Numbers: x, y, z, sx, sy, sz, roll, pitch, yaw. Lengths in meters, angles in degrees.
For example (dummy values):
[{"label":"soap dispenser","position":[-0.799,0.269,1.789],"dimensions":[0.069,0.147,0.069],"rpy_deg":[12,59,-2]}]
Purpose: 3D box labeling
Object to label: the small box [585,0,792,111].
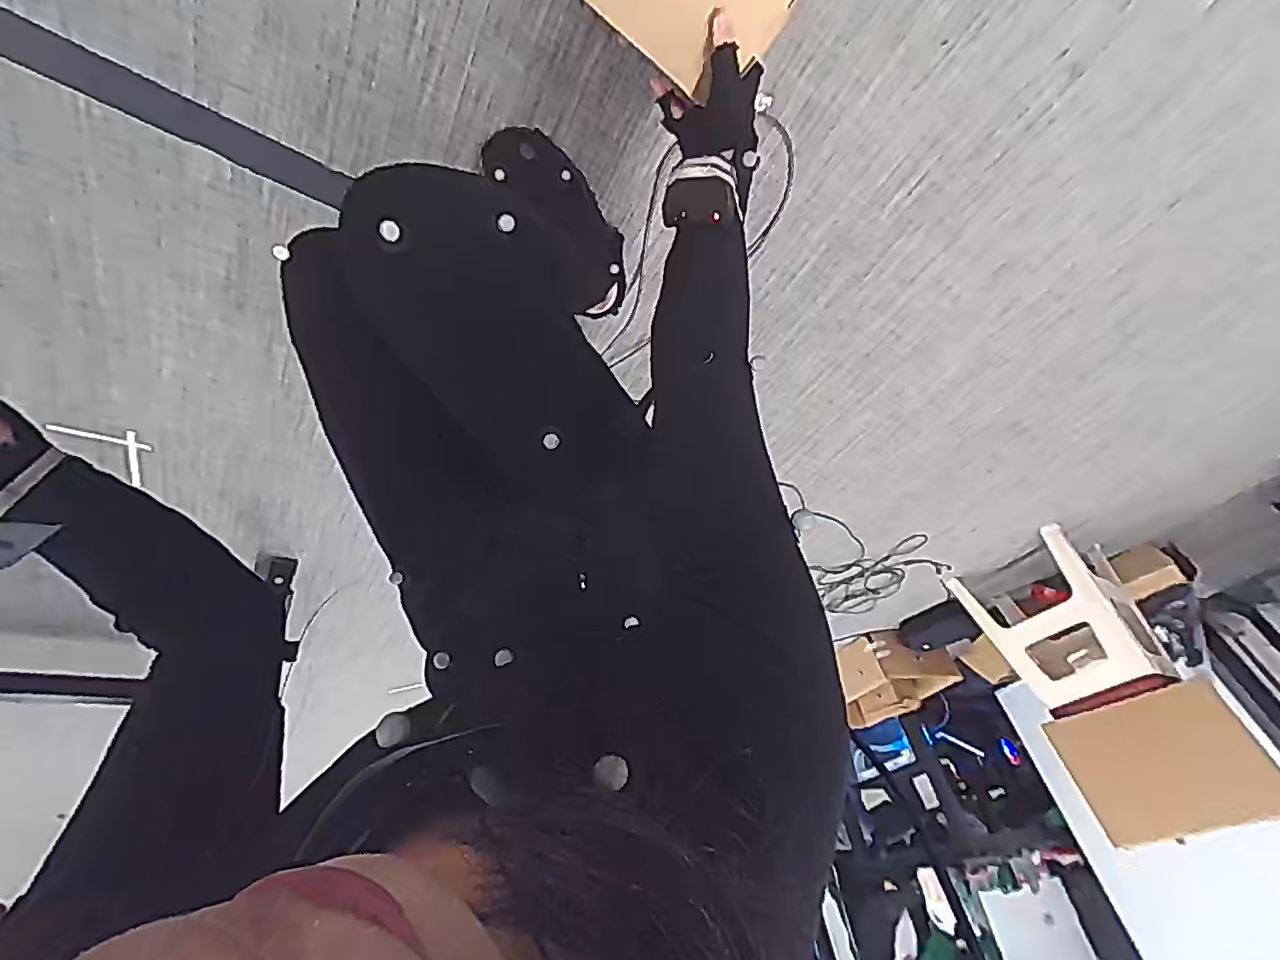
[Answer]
[{"label":"small box","position":[0.042,-0.506,0.510],"dimensions":[0.179,0.176,0.168],"rpy_deg":[20,131,-32]}]
